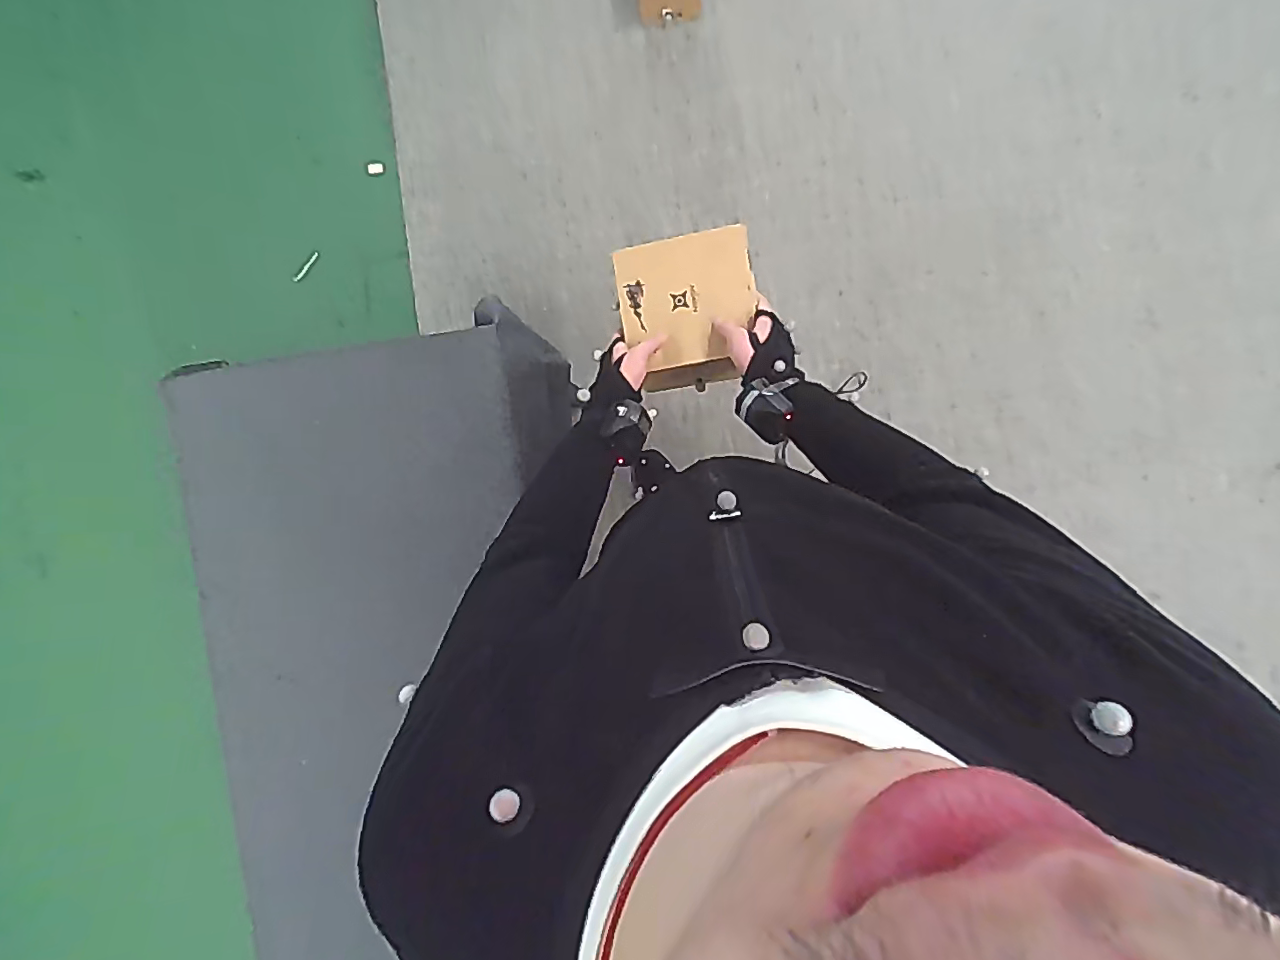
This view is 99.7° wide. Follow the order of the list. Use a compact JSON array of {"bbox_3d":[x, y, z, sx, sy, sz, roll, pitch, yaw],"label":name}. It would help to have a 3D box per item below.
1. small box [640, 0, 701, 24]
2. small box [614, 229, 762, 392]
[{"bbox_3d":[0.074,-1.372,1.431,0.168,0.176,0.179,-5,92,9],"label":"small box"},{"bbox_3d":[0.069,-0.229,0.773,0.179,0.176,0.168,-8,89,7],"label":"small box"}]
